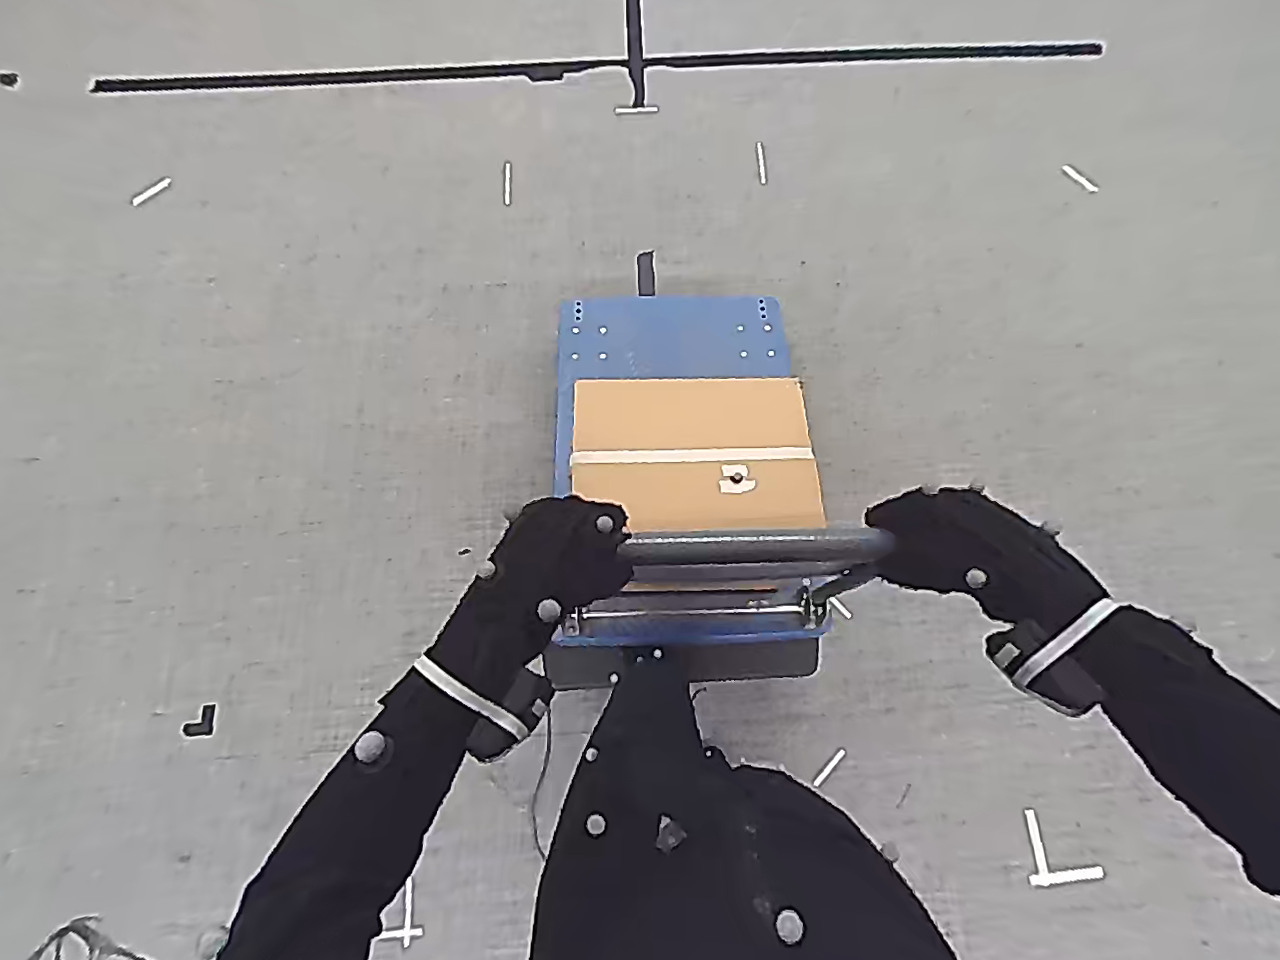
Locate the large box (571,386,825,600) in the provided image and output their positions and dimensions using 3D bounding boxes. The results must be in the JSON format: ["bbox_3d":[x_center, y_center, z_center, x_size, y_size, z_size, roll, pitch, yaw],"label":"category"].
[{"bbox_3d":[0.080,0.038,1.029,0.408,0.320,0.320,-1,66,-2],"label":"large box"}]
